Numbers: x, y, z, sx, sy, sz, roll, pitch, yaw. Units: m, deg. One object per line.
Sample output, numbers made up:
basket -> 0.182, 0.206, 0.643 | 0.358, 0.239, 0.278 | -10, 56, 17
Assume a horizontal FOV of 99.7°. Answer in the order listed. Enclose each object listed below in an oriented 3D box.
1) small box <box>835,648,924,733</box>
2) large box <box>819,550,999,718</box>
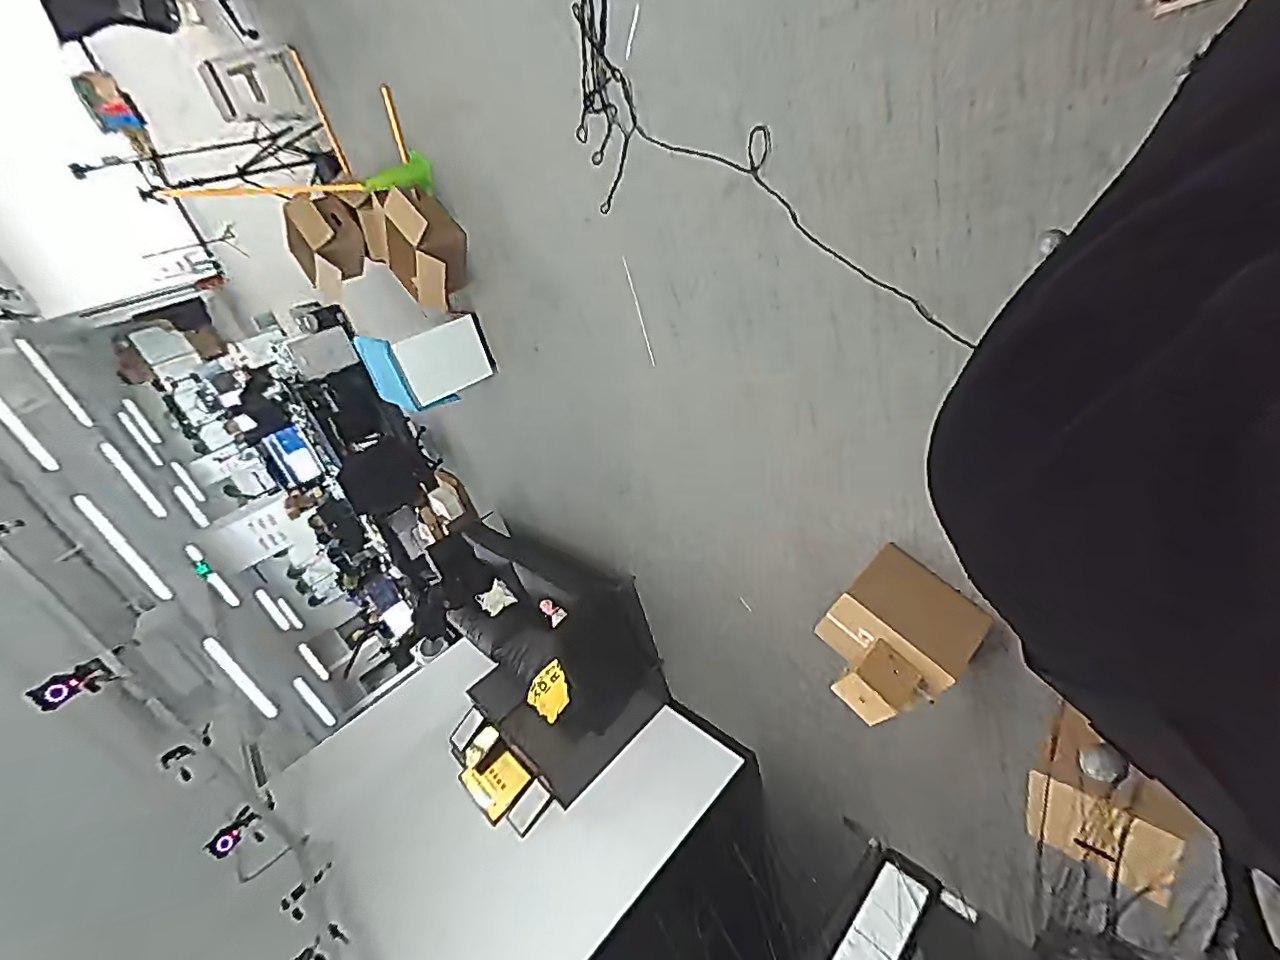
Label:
small box -> 0.776, 0.678, 1.748 | 0.168, 0.176, 0.179 | 44, 148, 21
large box -> 0.921, 0.528, 1.881 | 0.408, 0.320, 0.320 | 42, 147, 25
